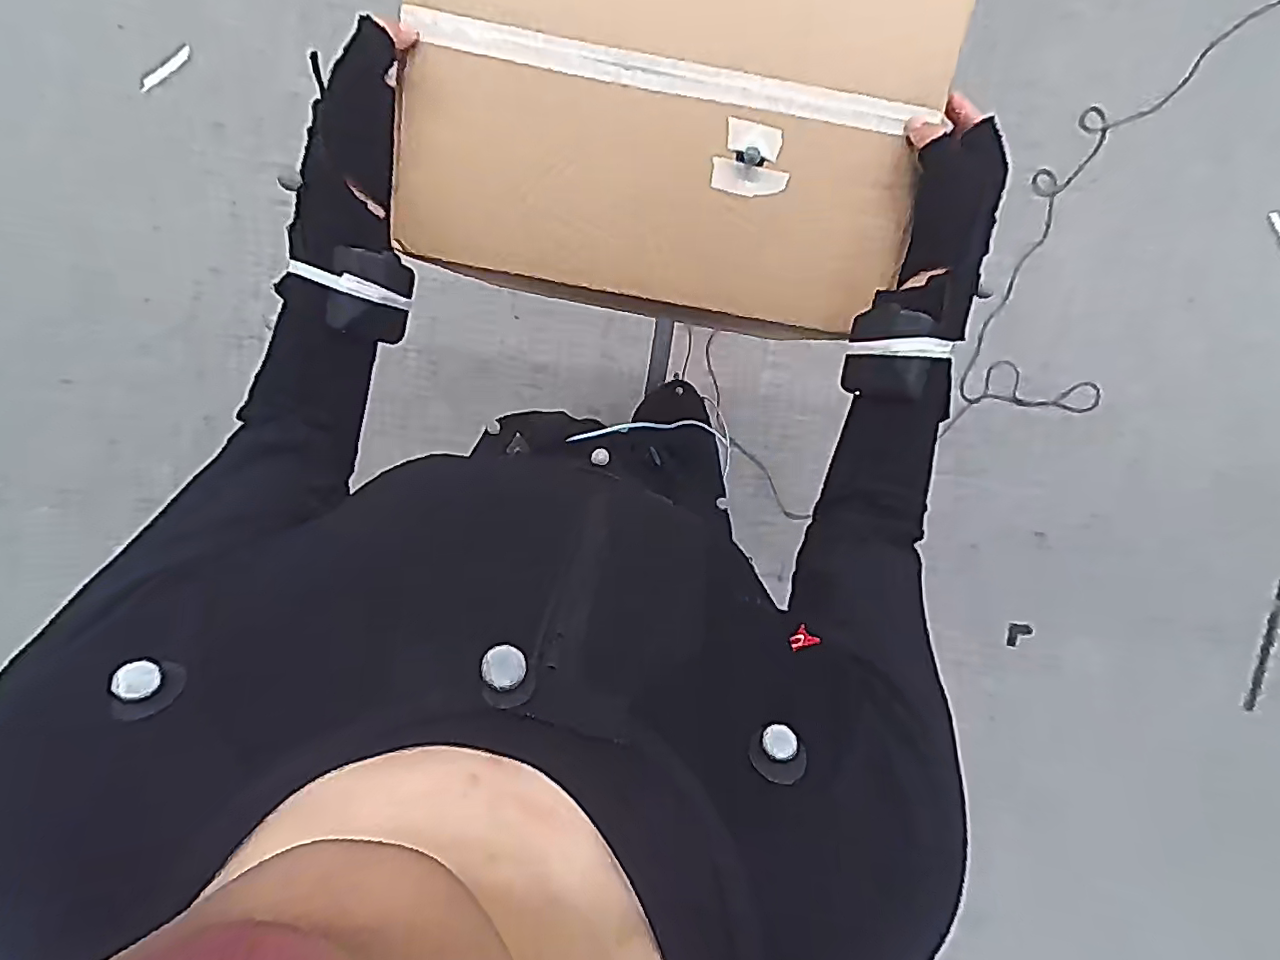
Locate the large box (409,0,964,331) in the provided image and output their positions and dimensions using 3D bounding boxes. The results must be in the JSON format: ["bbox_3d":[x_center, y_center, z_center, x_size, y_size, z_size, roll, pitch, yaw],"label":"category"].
[{"bbox_3d":[0.026,-0.341,0.554,0.408,0.320,0.320,9,106,-3],"label":"large box"}]
